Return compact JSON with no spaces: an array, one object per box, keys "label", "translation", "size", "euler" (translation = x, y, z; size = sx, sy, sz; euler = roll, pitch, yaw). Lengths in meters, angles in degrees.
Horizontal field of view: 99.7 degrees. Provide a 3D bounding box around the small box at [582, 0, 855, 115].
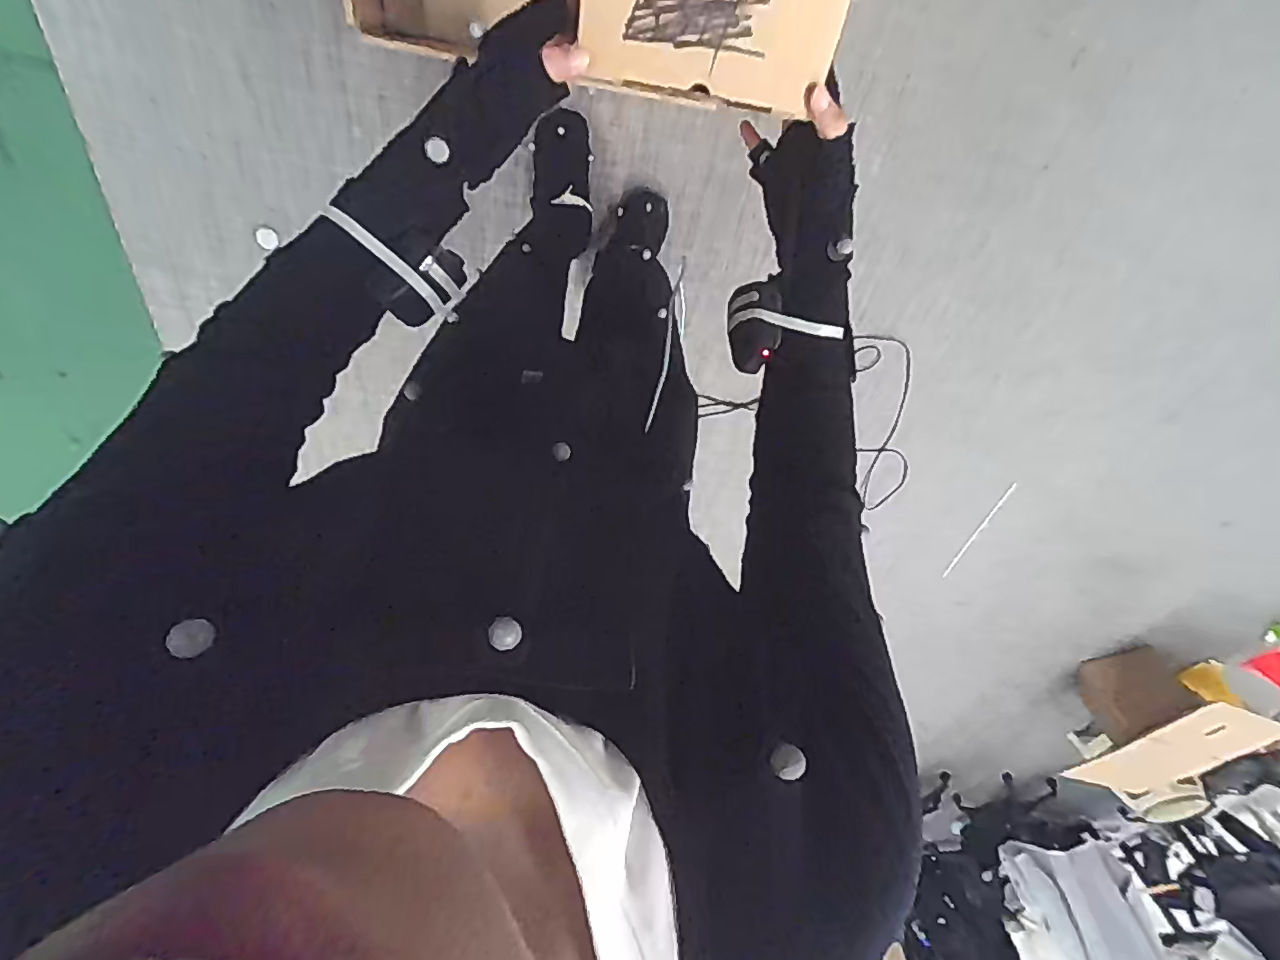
[{"label":"small box","translation":[0.053,-0.377,0.361],"size":[0.168,0.176,0.179],"euler":[5,132,-10]}]
